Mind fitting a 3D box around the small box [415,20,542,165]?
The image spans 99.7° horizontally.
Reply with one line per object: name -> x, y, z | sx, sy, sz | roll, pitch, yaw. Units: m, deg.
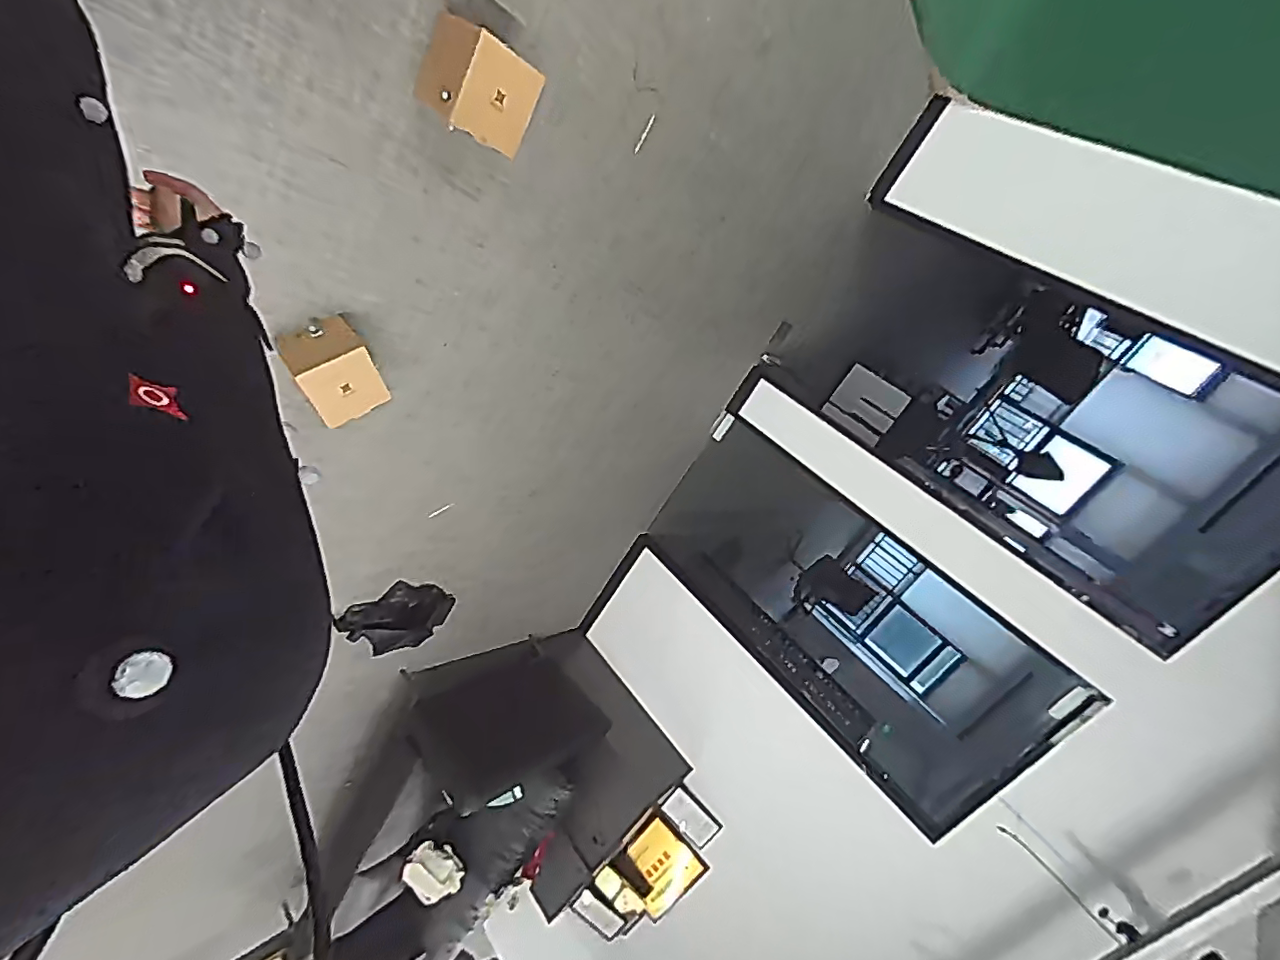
small box -> -0.345, -0.812, 1.137 | 0.168, 0.176, 0.179 | -1, 130, -54

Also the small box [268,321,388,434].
small box -> -0.755, -0.252, 1.315 | 0.168, 0.176, 0.179 | -35, 150, -22
